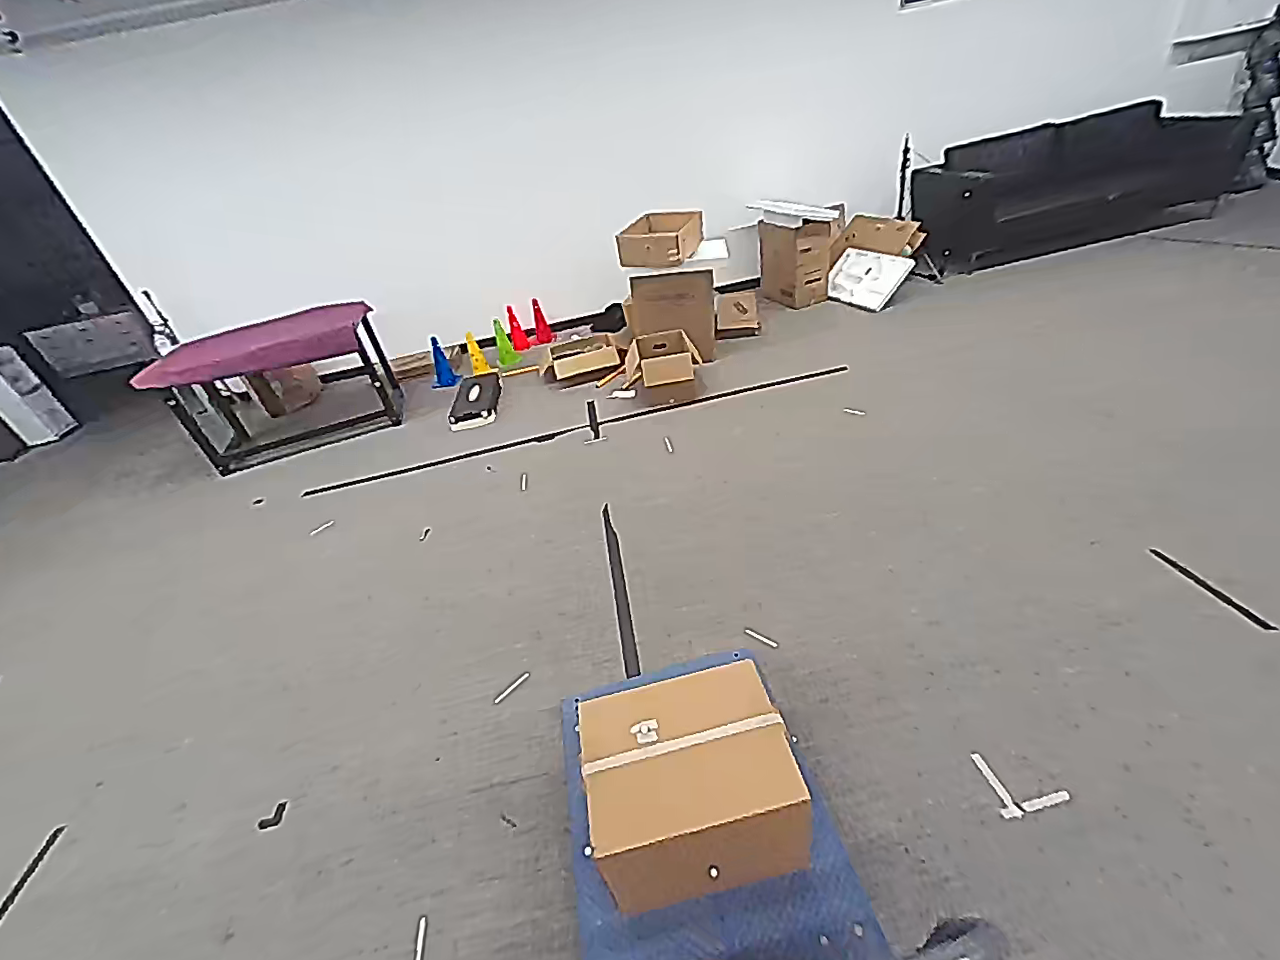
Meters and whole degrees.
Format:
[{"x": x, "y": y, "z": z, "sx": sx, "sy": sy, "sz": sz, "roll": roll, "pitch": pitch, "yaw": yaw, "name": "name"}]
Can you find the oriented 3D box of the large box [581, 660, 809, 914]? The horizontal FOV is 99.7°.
[{"x": 0.115, "y": 0.658, "z": 1.174, "sx": 0.408, "sy": 0.320, "sz": 0.320, "roll": -15, "pitch": 33, "yaw": -2, "name": "large box"}]
